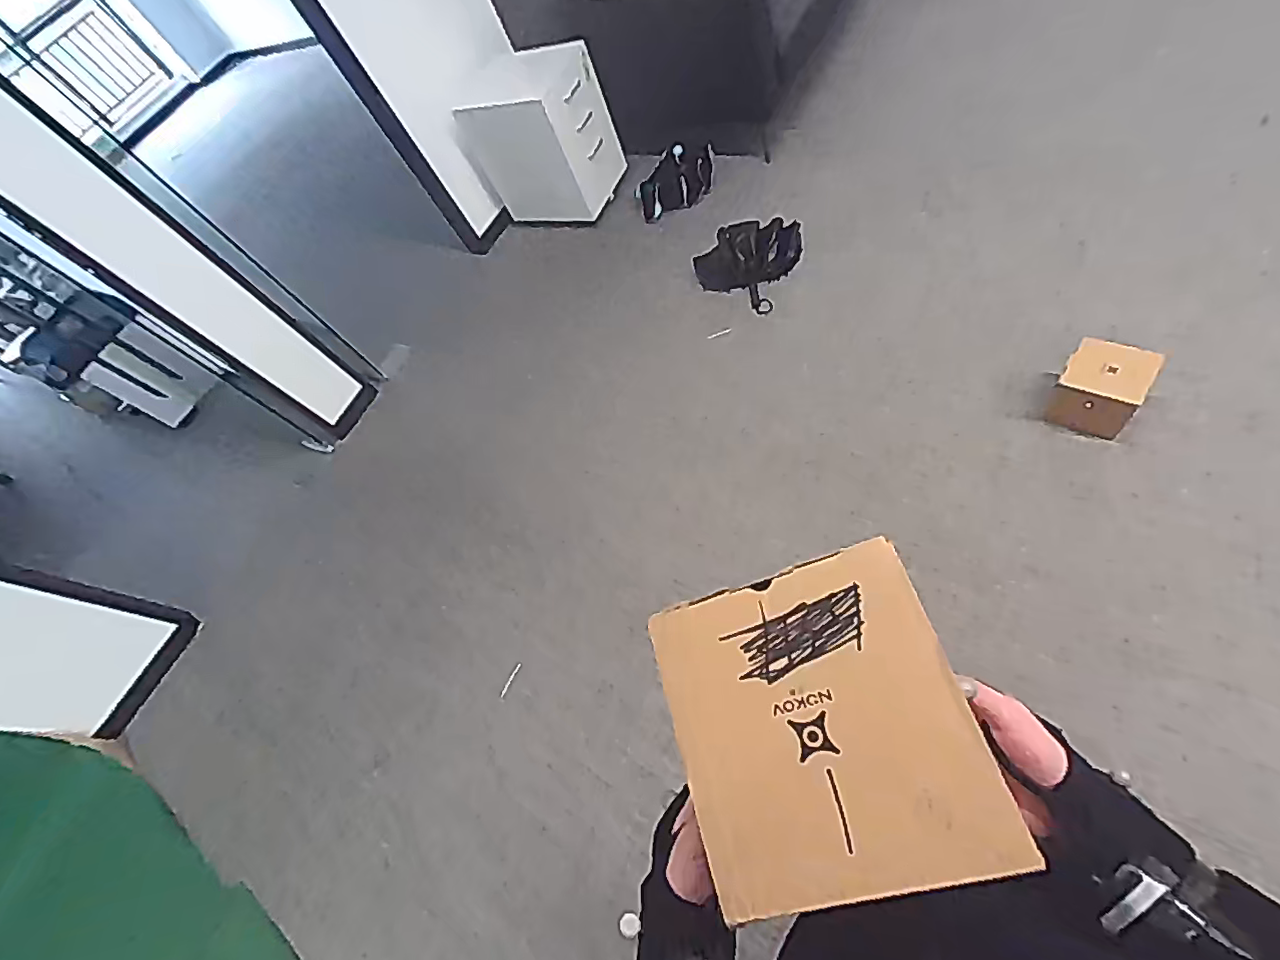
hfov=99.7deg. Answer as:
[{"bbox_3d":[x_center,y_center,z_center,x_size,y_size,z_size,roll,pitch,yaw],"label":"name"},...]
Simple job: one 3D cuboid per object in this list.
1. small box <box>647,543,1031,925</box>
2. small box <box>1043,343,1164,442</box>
[{"bbox_3d":[0.125,0.168,0.382,0.168,0.176,0.179,-23,64,15],"label":"small box"},{"bbox_3d":[1.204,-0.226,1.421,0.179,0.176,0.168,29,76,31],"label":"small box"}]
